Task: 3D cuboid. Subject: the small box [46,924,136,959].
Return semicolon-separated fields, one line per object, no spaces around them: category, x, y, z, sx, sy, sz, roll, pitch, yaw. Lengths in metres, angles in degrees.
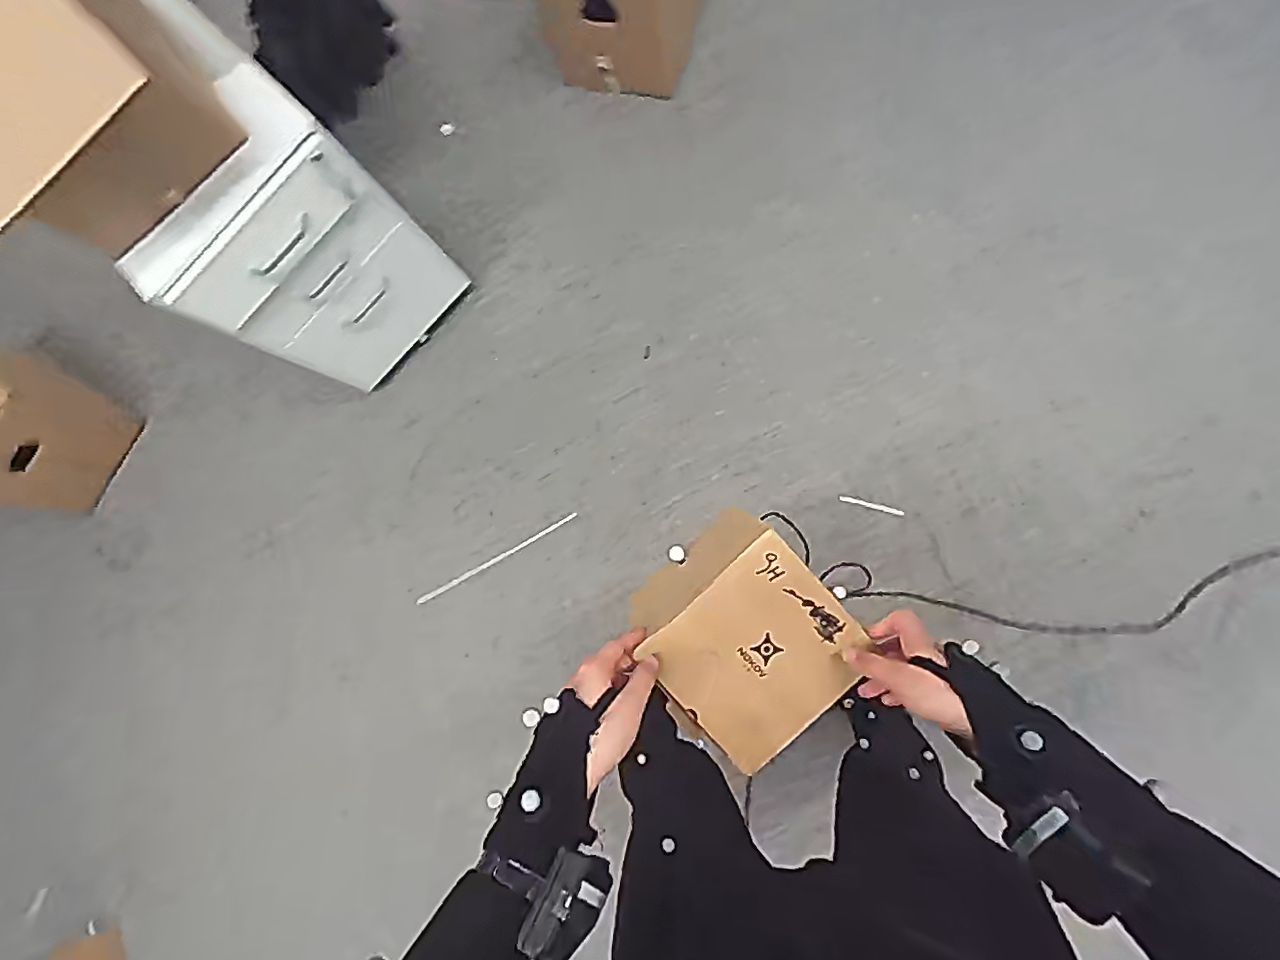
small box;-1.400;1.252;1.336;0.168;0.176;0.179;-28;80;5
